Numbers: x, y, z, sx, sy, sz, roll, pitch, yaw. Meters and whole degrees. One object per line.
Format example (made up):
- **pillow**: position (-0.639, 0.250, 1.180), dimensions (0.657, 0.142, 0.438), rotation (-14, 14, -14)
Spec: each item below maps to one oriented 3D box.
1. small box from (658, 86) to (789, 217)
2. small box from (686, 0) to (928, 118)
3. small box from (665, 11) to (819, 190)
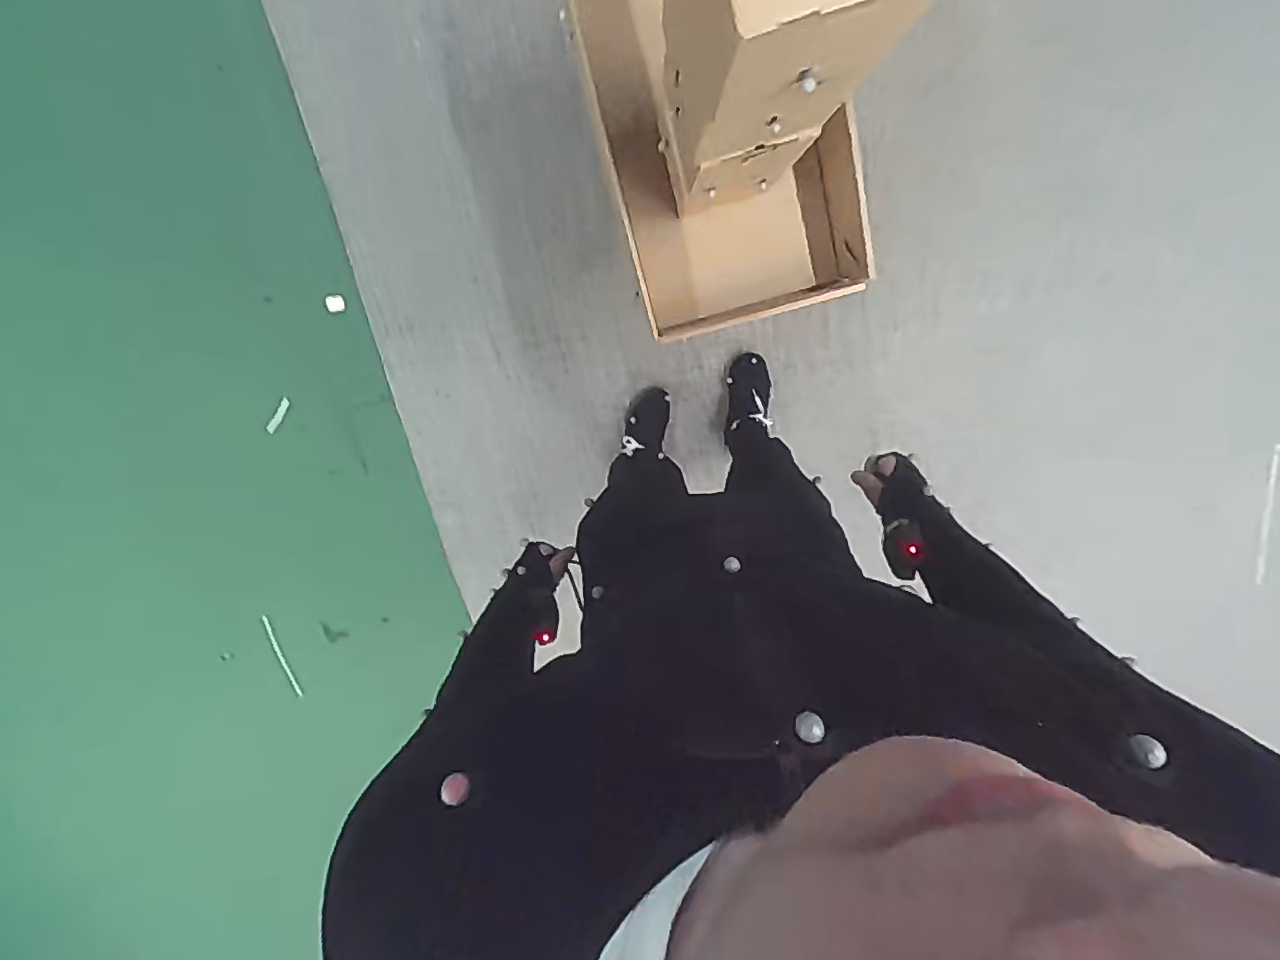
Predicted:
- **small box**: position (0.134, -0.568, 0.918), dimensions (0.179, 0.176, 0.168), rotation (-15, 105, 4)
- **small box**: position (0.125, -0.442, 0.441), dimensions (0.168, 0.176, 0.179), rotation (-16, 104, 5)
- **small box**: position (0.134, -0.529, 0.758), dimensions (0.168, 0.176, 0.179), rotation (-15, 104, 3)
